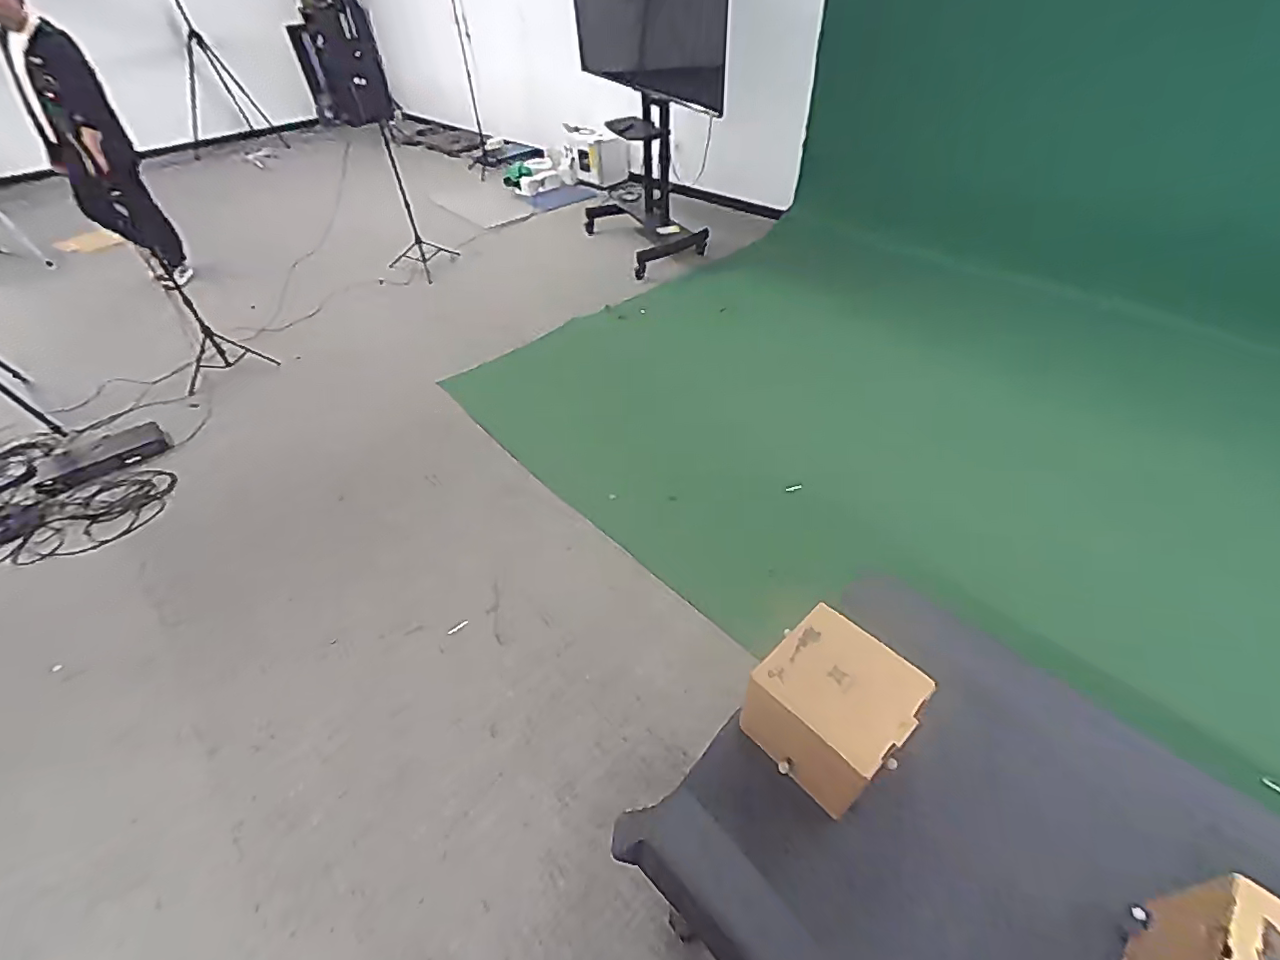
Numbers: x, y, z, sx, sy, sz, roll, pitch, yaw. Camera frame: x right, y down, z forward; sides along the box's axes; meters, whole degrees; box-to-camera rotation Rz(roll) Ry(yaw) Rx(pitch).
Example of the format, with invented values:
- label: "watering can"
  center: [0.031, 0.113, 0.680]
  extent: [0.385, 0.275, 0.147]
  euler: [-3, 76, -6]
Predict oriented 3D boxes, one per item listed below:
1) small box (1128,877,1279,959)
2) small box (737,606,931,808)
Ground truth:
- label: "small box"
  center: [0.594, 0.532, 0.508]
  extent: [0.168, 0.176, 0.179]
  euler: [-35, 53, -28]
- label: "small box"
  center: [0.255, 0.318, 0.749]
  extent: [0.168, 0.176, 0.179]
  euler: [-33, 53, -28]
